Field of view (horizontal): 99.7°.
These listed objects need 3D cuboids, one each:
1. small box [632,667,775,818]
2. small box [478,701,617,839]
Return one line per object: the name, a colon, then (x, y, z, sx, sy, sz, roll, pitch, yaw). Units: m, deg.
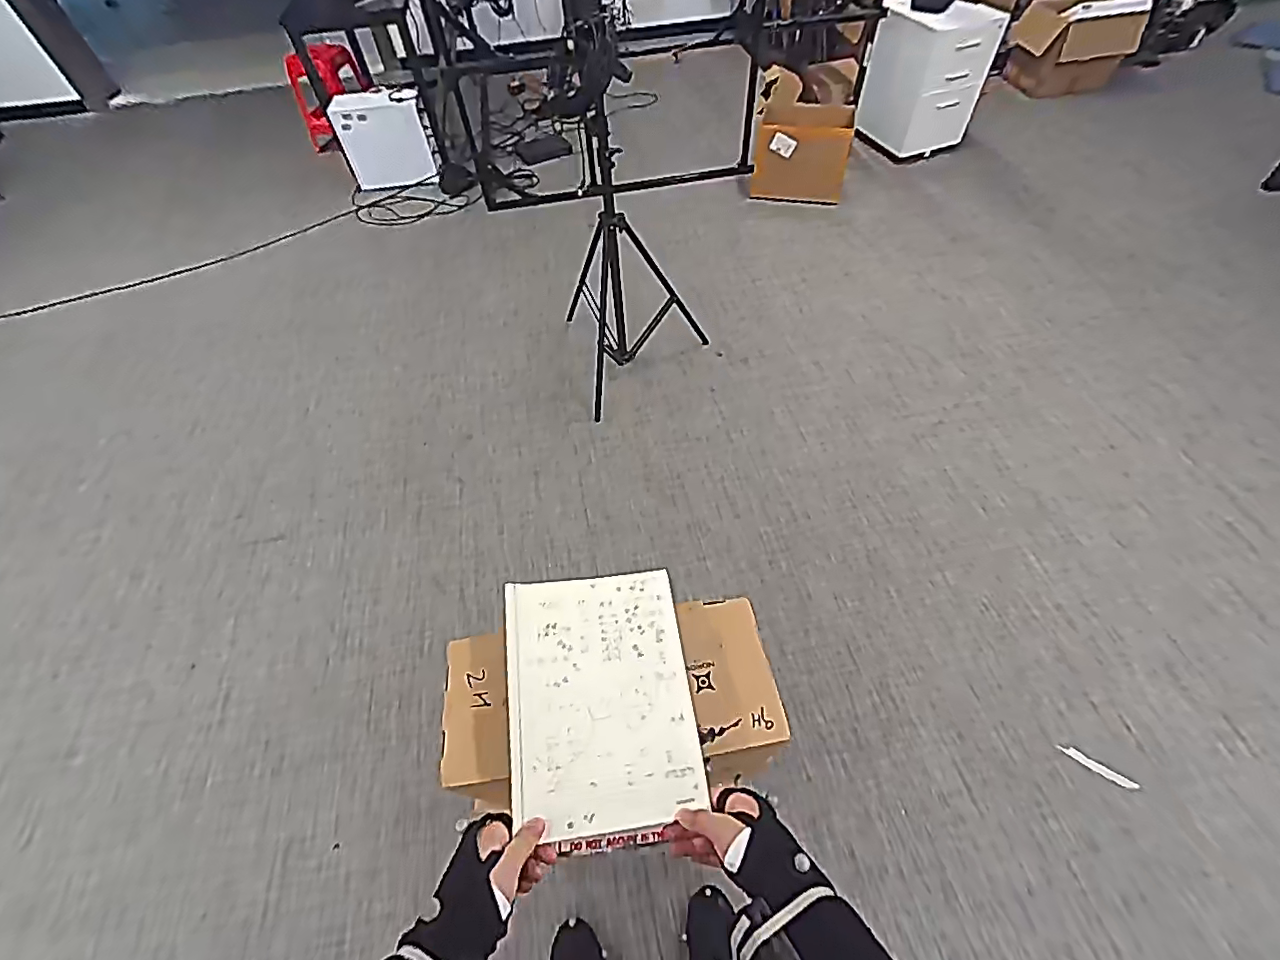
small box: (0.087, 0.409, 0.837, 0.179, 0.176, 0.168, -10, 55, -6)
small box: (-0.127, 0.444, 0.823, 0.179, 0.176, 0.168, -5, 56, 2)
